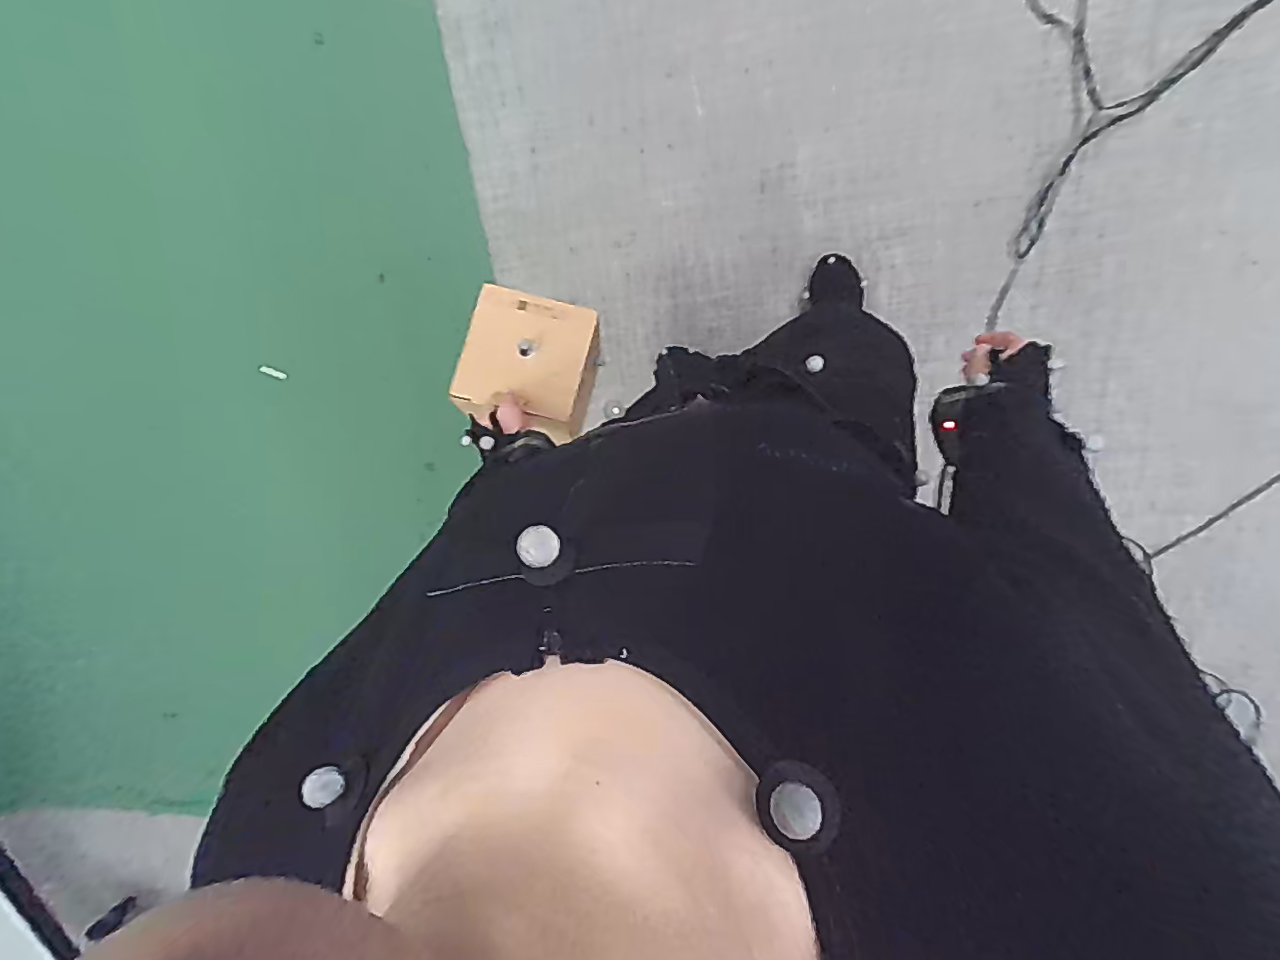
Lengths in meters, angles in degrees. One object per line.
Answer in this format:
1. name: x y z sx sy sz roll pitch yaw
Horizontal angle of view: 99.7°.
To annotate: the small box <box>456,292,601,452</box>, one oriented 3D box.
1. small box: -0.158 -0.156 0.816 0.168 0.179 0.176 13 79 -2
